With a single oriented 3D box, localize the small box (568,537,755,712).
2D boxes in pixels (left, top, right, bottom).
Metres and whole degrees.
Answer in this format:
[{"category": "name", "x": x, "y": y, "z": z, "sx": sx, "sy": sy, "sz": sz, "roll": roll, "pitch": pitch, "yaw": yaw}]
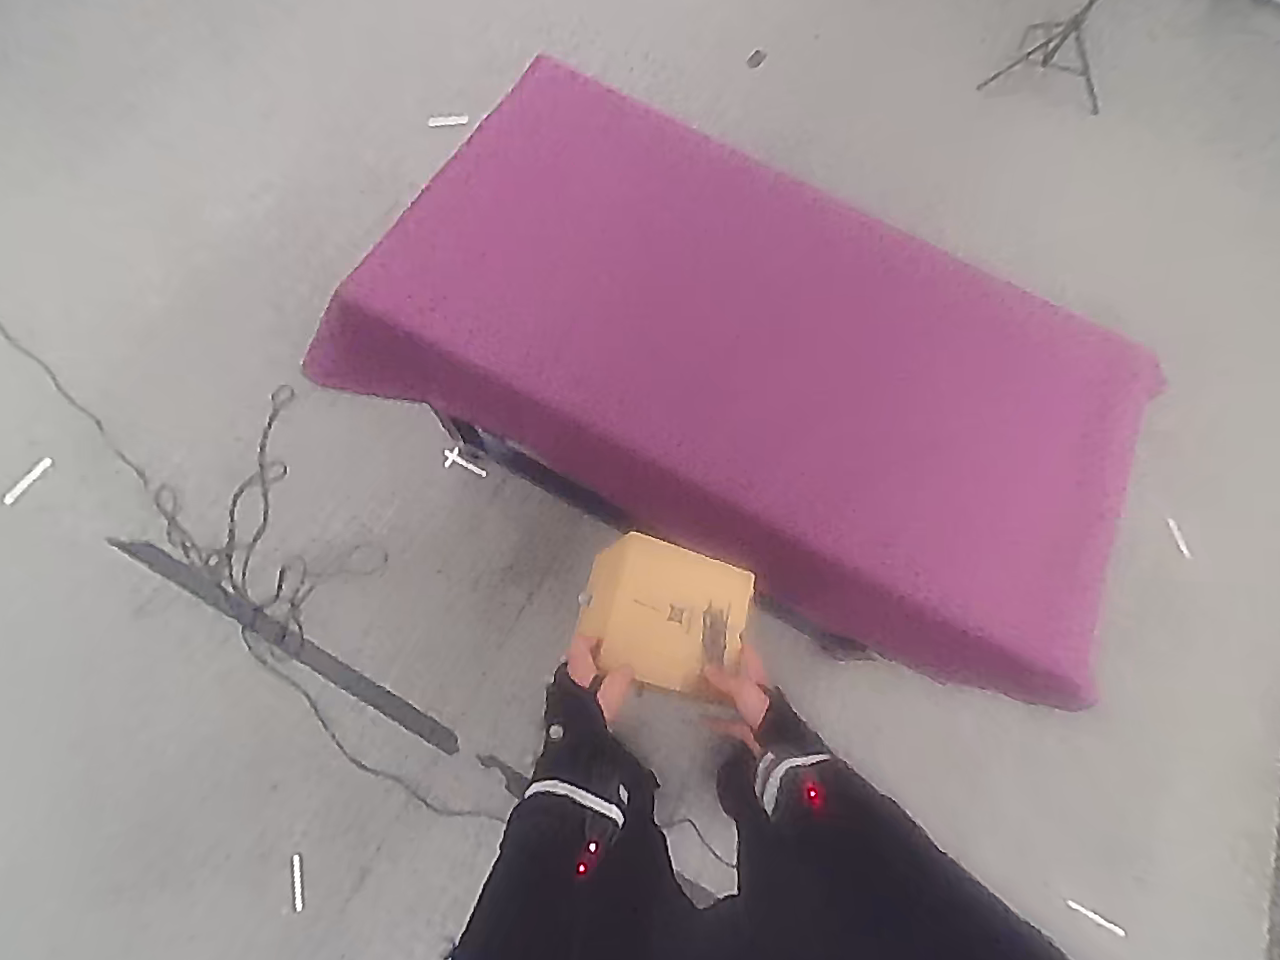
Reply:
[{"category": "small box", "x": 0.023, "y": 0.192, "z": 0.710, "sx": 0.179, "sy": 0.176, "sz": 0.168, "roll": 20, "pitch": 66, "yaw": -12}]
